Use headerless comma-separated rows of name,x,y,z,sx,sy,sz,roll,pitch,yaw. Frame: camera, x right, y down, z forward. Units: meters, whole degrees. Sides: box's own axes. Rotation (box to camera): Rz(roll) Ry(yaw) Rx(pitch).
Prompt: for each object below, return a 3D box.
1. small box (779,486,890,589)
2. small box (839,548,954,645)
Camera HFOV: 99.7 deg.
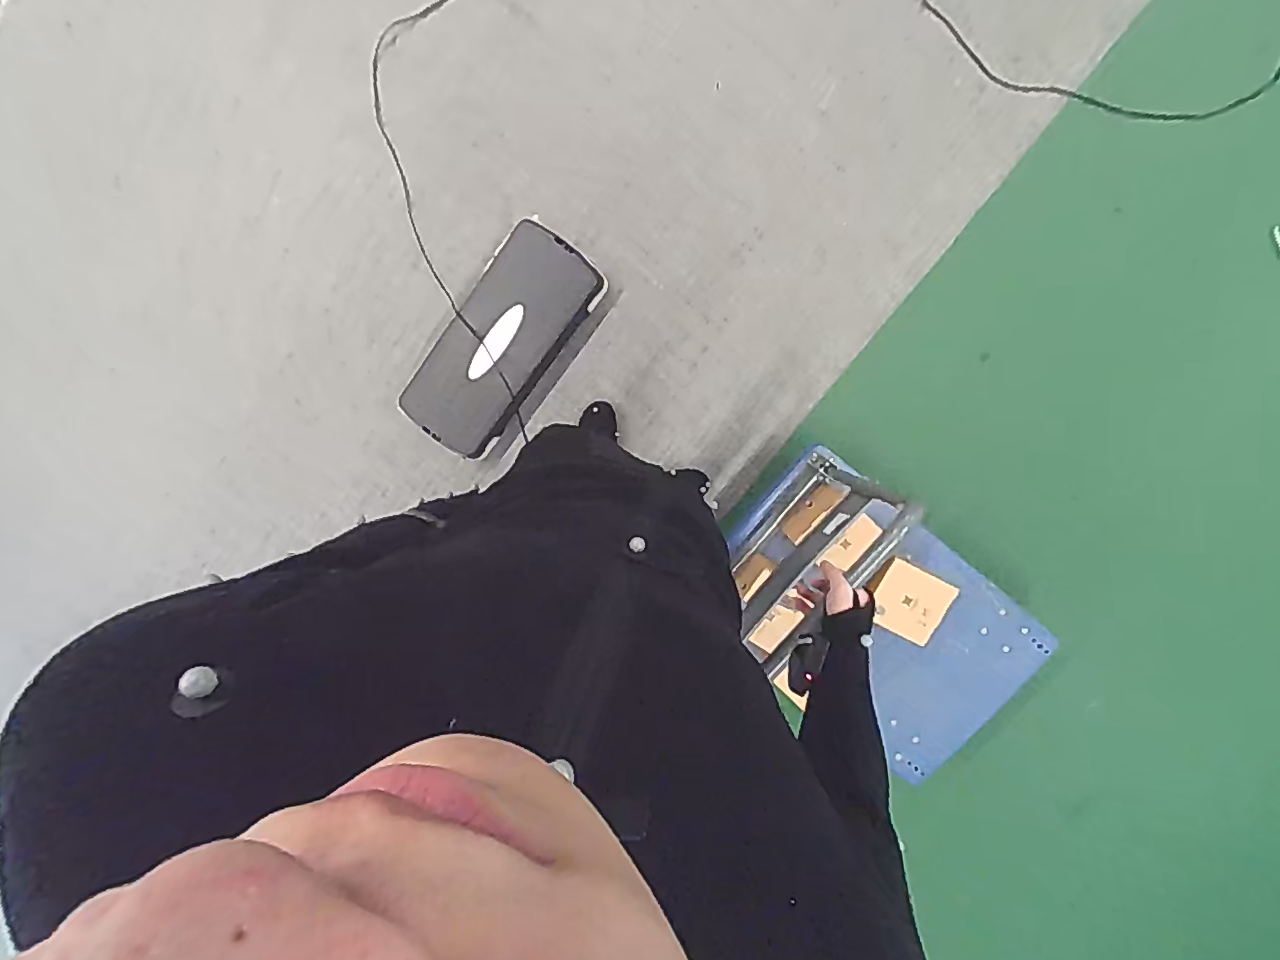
small box,0.476,0.134,1.352,0.179,0.176,0.168,43,99,-4
small box,0.635,0.278,1.366,0.179,0.176,0.168,27,99,-2
